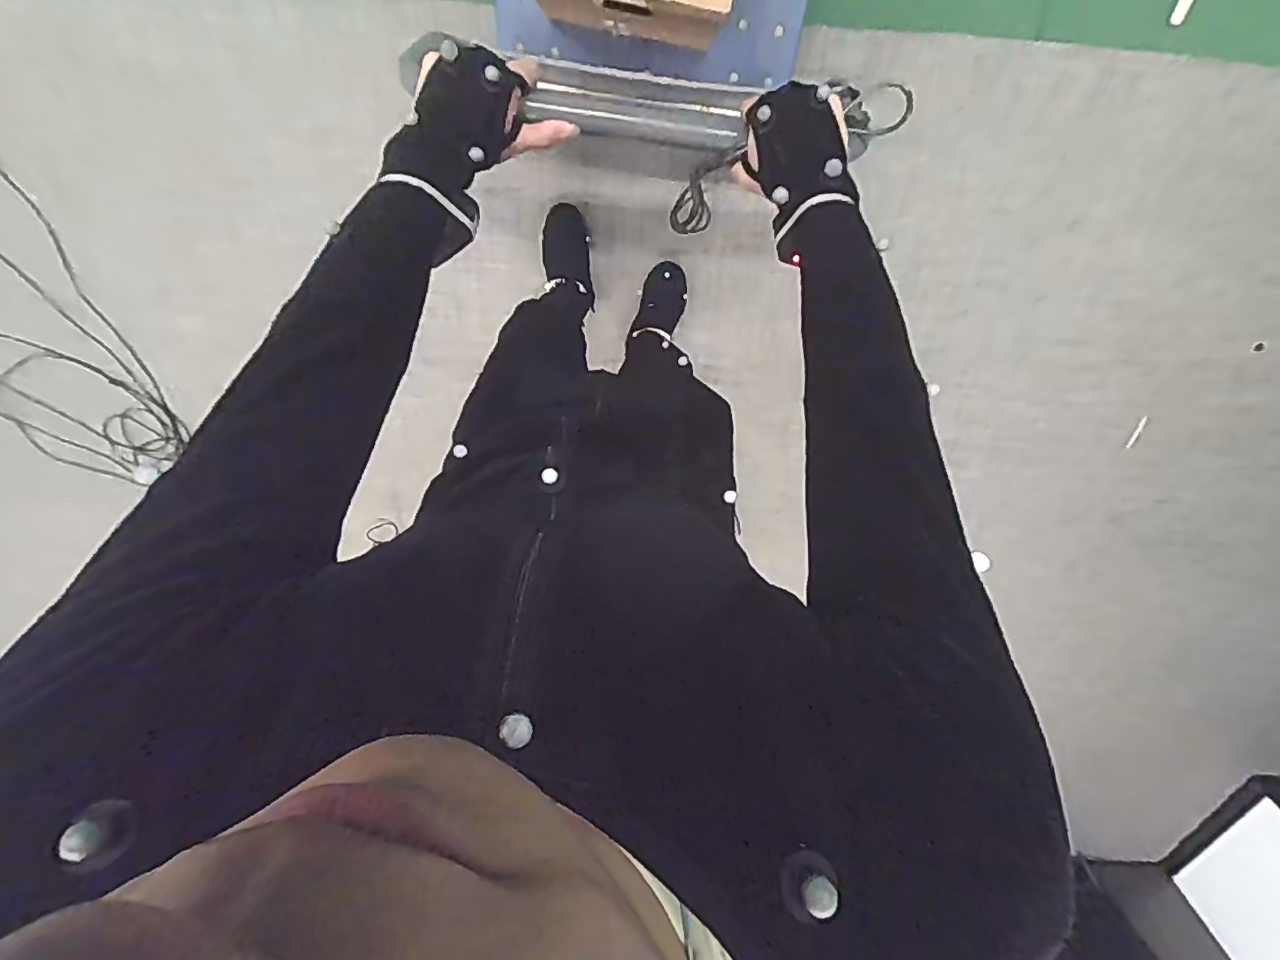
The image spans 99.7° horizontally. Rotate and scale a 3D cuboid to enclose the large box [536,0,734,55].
[{"bbox_3d":[0.011,-0.930,0.806,0.320,0.320,0.408,8,120,-5],"label":"large box"}]
